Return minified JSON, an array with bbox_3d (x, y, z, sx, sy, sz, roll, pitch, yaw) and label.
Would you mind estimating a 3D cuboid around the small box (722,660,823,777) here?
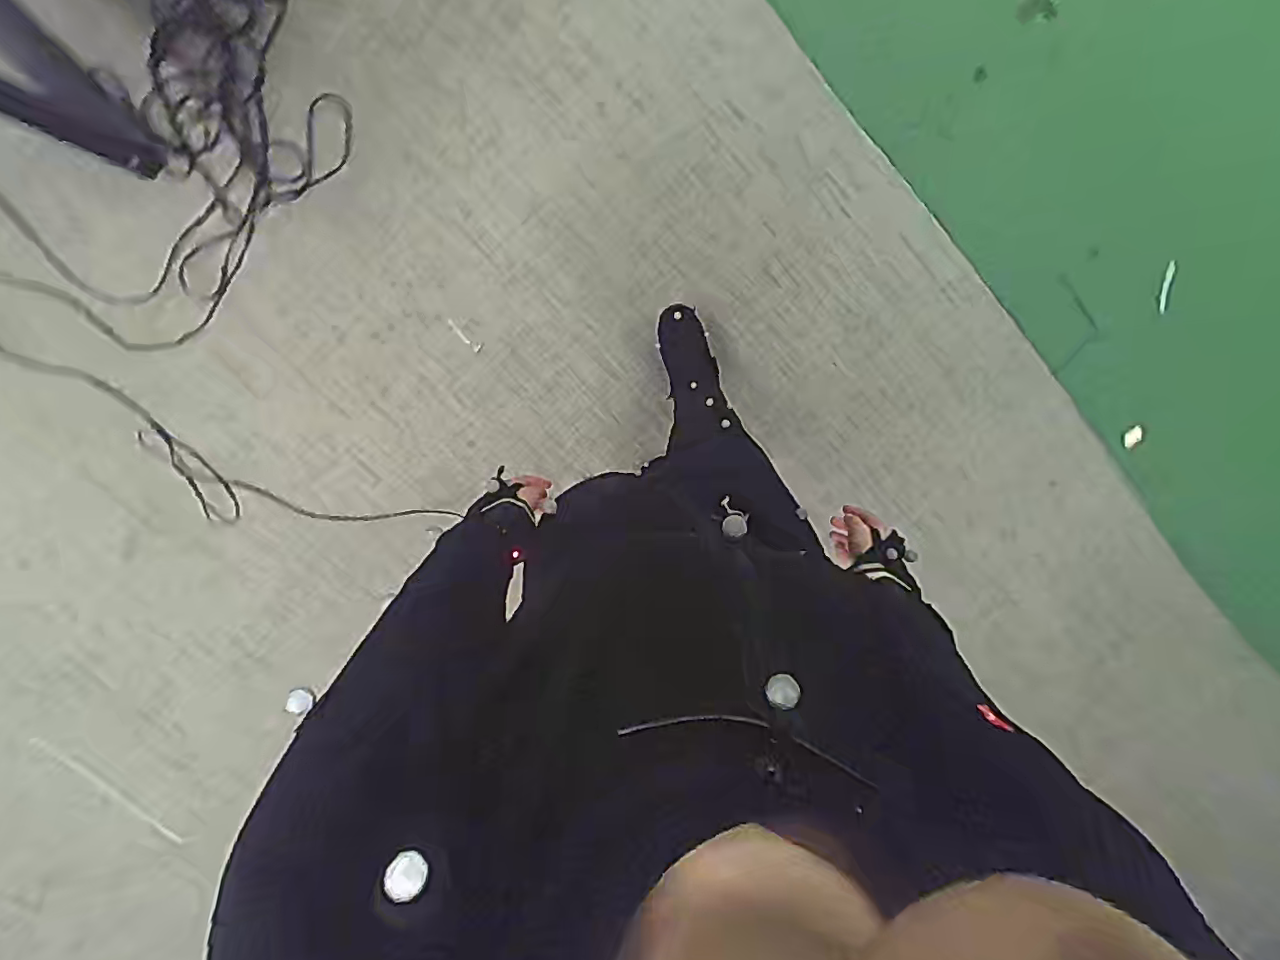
[{"bbox_3d":[0.329,0.603,1.389,0.179,0.176,0.168,-43,99,4],"label":"small box"}]
